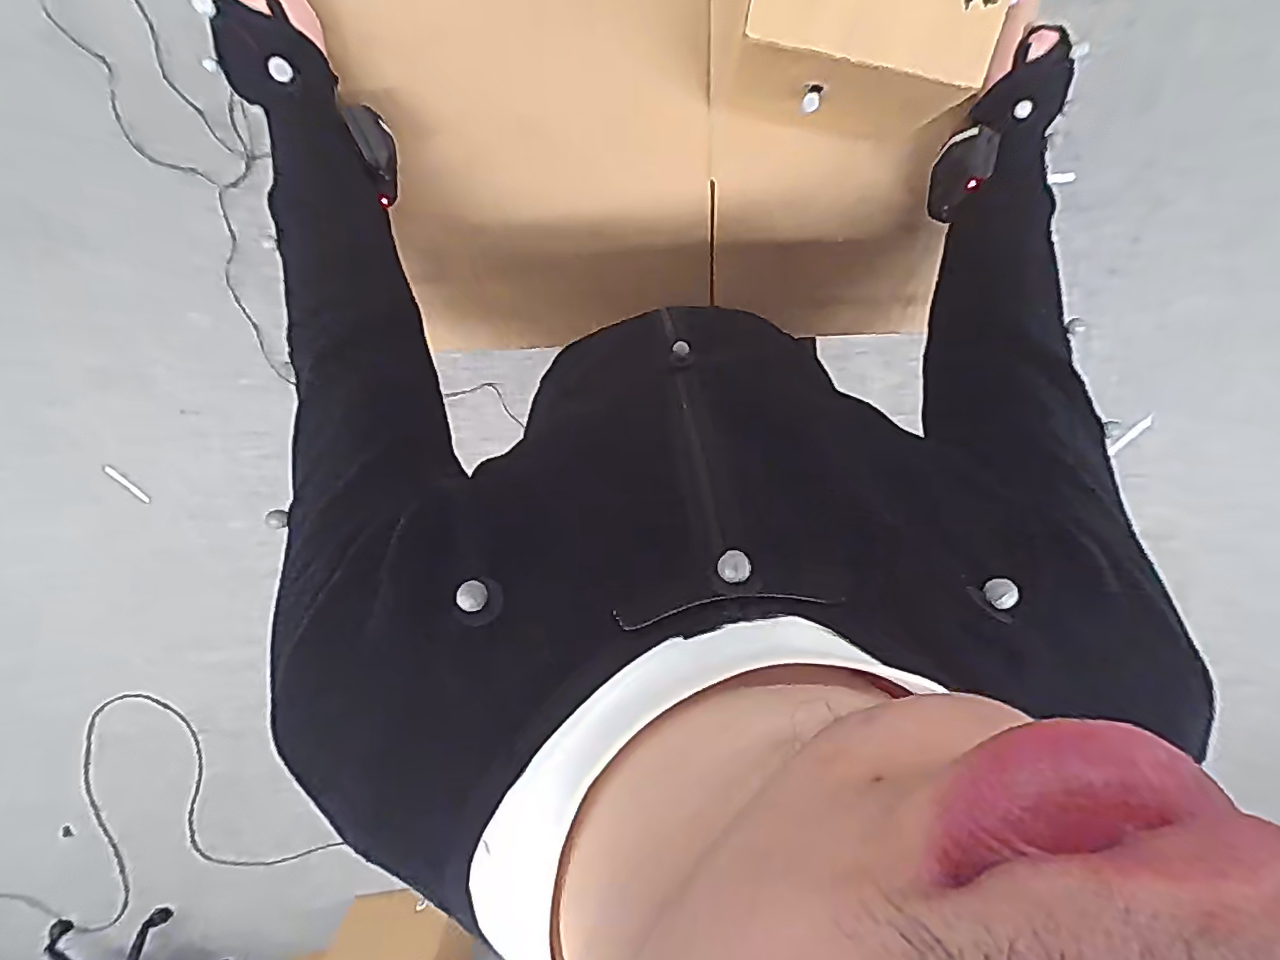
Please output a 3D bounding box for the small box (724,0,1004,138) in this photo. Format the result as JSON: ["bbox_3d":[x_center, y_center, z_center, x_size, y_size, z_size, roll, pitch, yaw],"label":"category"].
[{"bbox_3d":[0.174,-0.400,0.433,0.179,0.176,0.168,11,109,-1],"label":"small box"}]
